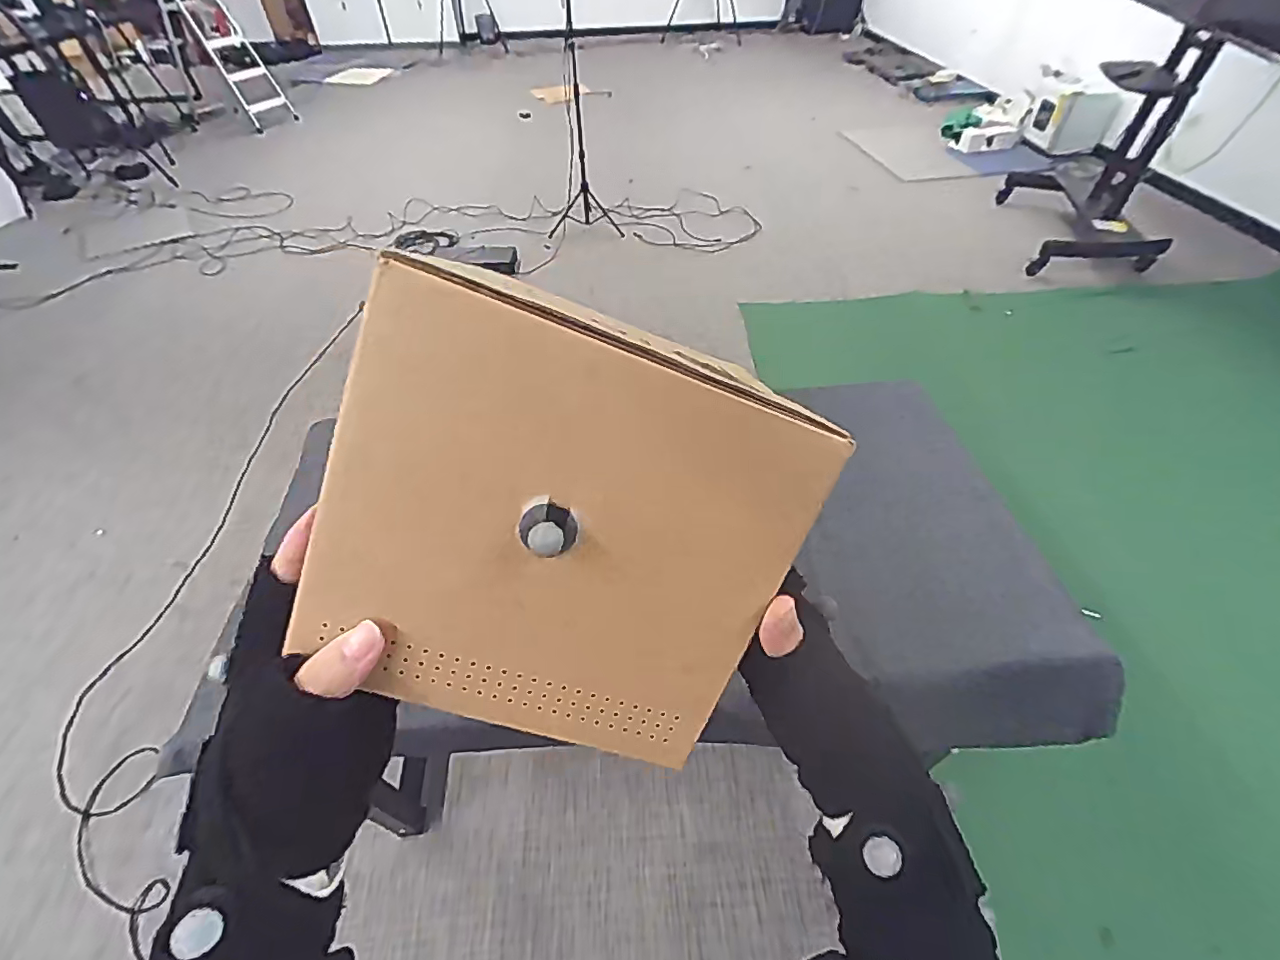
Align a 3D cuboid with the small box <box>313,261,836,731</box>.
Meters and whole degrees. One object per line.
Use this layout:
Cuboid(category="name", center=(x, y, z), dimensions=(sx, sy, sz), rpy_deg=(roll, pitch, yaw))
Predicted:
Cuboid(category="small box", center=(-0.037, 0.001, 0.291), dimensions=(0.179, 0.176, 0.168), rpy_deg=(19, 17, -11))
